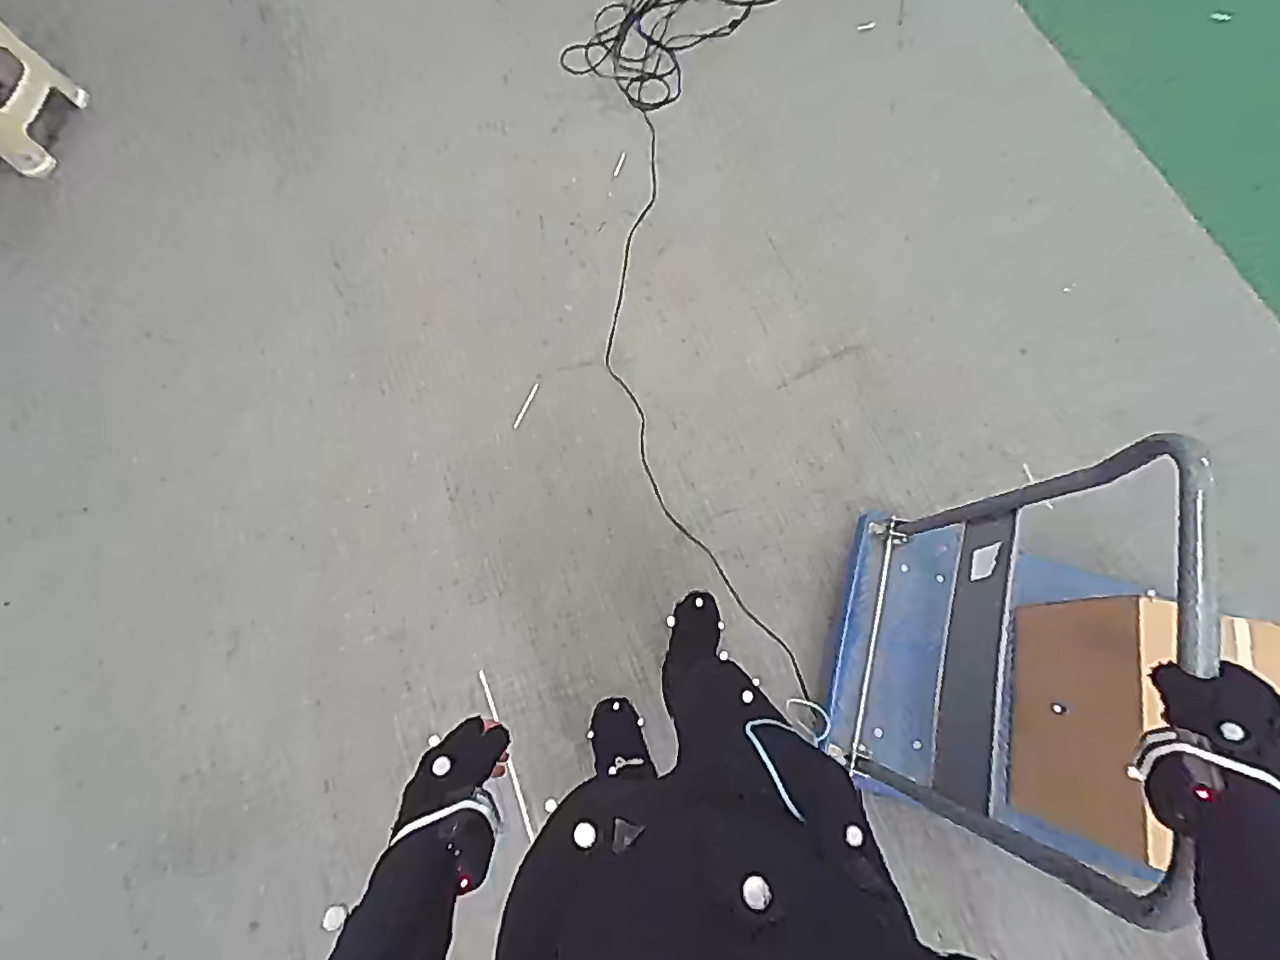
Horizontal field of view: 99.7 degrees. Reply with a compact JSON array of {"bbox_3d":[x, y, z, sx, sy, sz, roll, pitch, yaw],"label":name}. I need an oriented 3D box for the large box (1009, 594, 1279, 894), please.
[{"bbox_3d":[0.923,0.452,0.980,0.320,0.320,0.408,13,72,2],"label":"large box"}]
